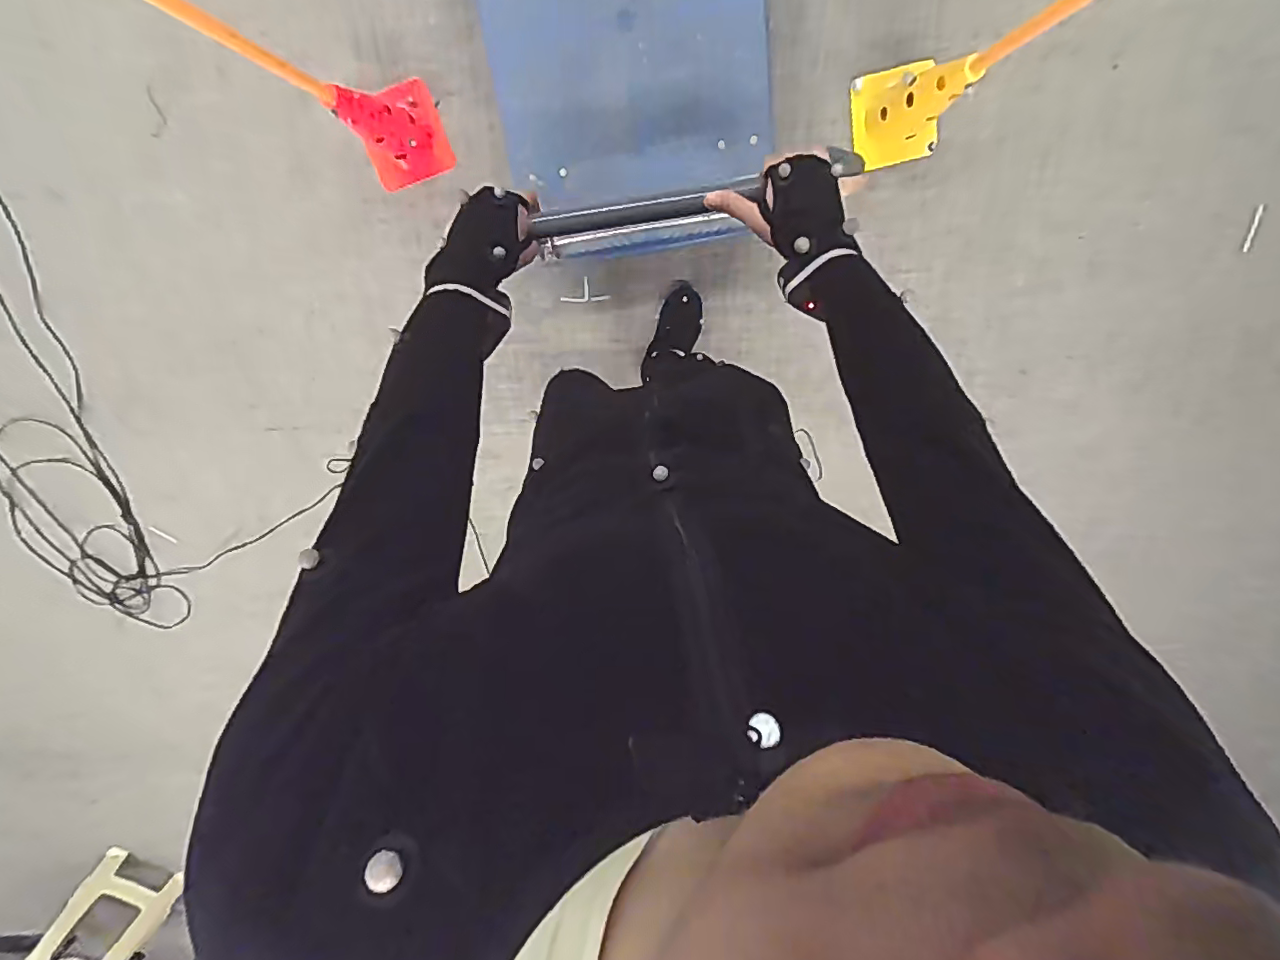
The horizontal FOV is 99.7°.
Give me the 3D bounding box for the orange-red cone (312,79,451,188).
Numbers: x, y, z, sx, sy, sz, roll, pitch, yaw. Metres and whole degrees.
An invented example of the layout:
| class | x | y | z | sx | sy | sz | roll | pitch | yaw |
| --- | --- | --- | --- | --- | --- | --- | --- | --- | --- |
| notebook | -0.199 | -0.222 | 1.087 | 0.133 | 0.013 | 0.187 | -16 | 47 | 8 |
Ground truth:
| class | x | y | z | sx | sy | sz | roll | pitch | yaw |
| --- | --- | --- | --- | --- | --- | --- | --- | --- | --- |
| orange-red cone | -0.577 | -0.768 | 1.145 | 0.199 | 0.360 | 0.198 | -15 | 111 | 7 |
